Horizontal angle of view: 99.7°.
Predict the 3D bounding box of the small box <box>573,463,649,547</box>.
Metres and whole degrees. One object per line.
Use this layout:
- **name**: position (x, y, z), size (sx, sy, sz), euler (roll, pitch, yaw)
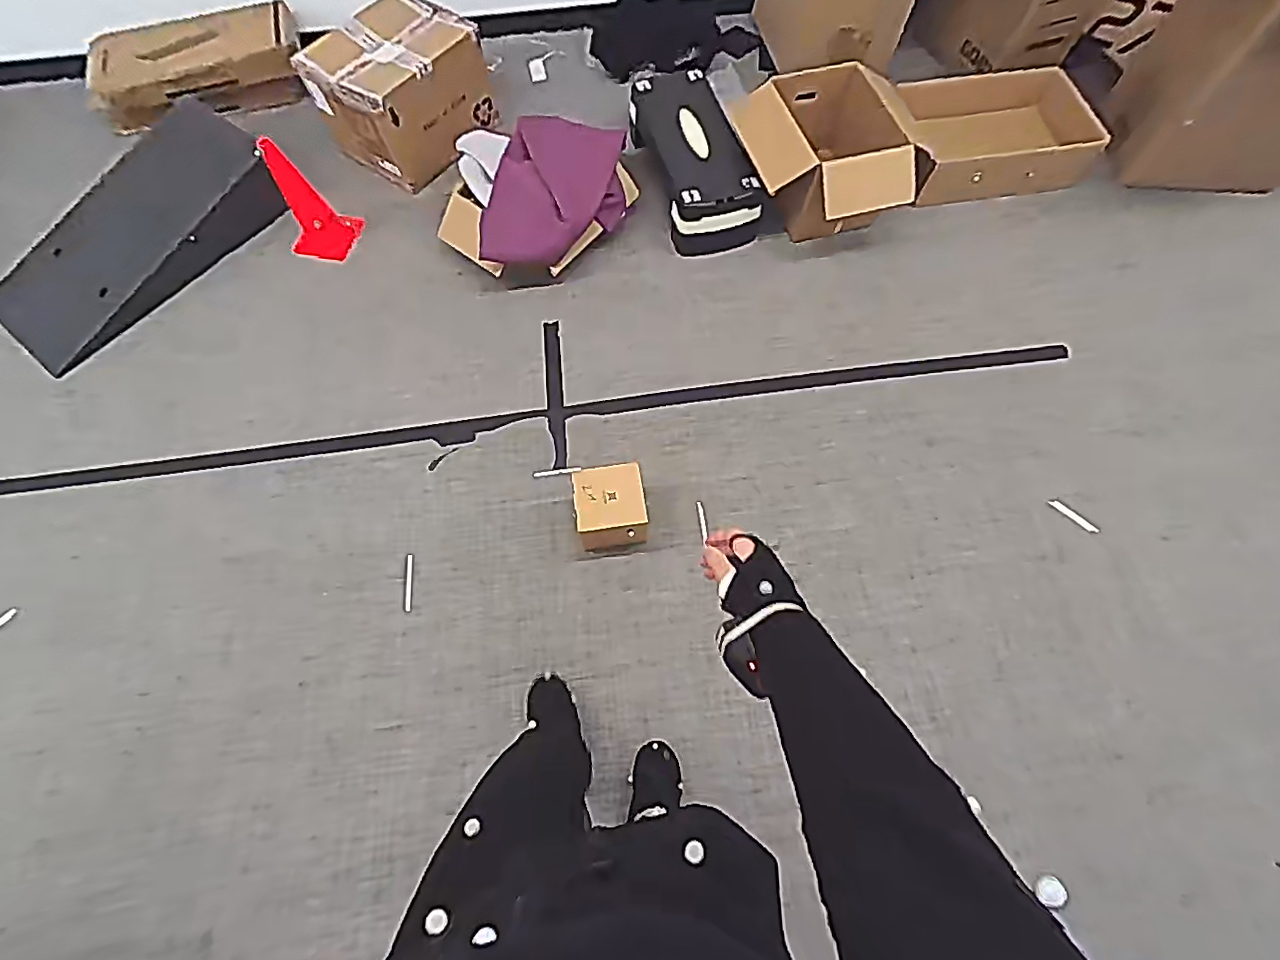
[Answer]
- **small box**: position (-0.075, 0.070, 1.426), size (0.179, 0.176, 0.168), euler (-8, 68, -3)
